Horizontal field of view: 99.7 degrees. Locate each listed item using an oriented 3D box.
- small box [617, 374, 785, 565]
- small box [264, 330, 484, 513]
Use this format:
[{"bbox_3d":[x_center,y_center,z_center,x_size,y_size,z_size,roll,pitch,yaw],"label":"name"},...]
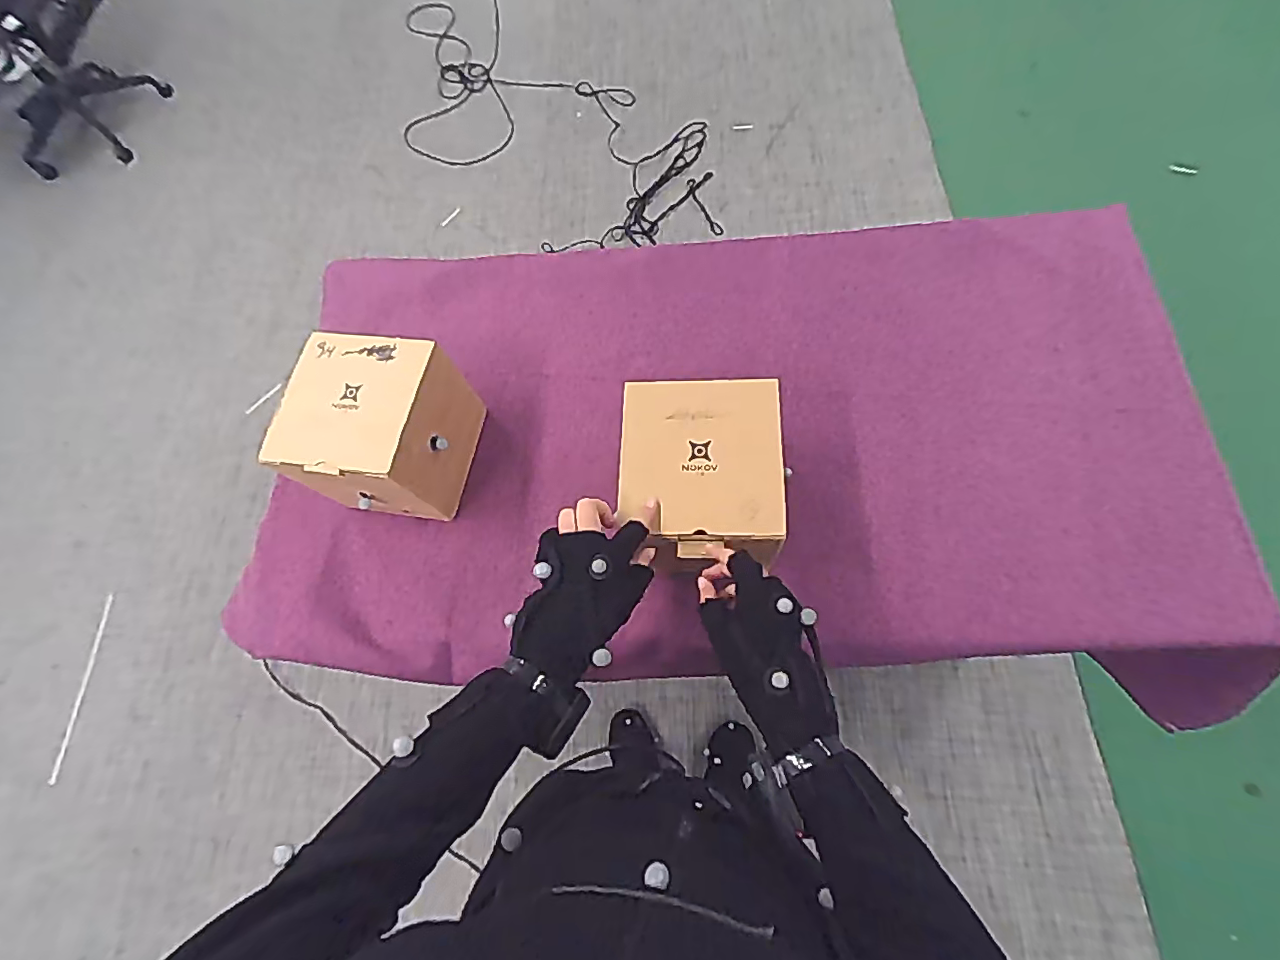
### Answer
[{"bbox_3d":[0.071,-0.002,0.623,0.168,0.176,0.179,0,69,7],"label":"small box"},{"bbox_3d":[-0.321,-0.067,0.694,0.168,0.176,0.179,7,71,9],"label":"small box"}]
